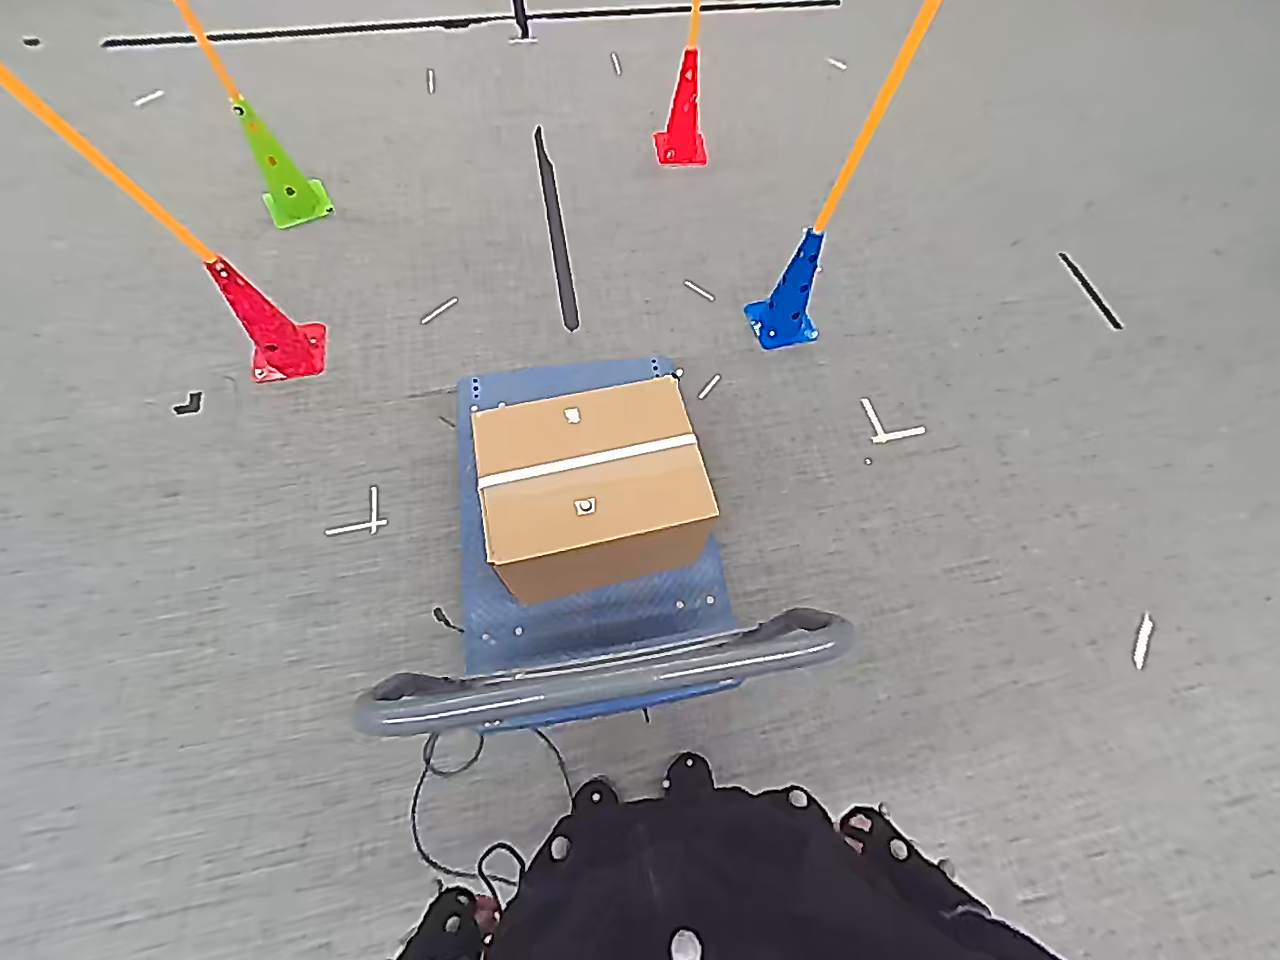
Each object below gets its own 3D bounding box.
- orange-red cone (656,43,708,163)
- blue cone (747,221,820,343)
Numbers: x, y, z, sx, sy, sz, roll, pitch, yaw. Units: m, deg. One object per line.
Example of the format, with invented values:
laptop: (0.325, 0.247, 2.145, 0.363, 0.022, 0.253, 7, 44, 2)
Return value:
orange-red cone: (0.176, -1.396, 1.988, 0.199, 0.360, 0.198, -2, 65, -5)
blue cone: (0.473, -0.607, 1.642, 0.193, 0.380, 0.192, -12, 65, -9)
